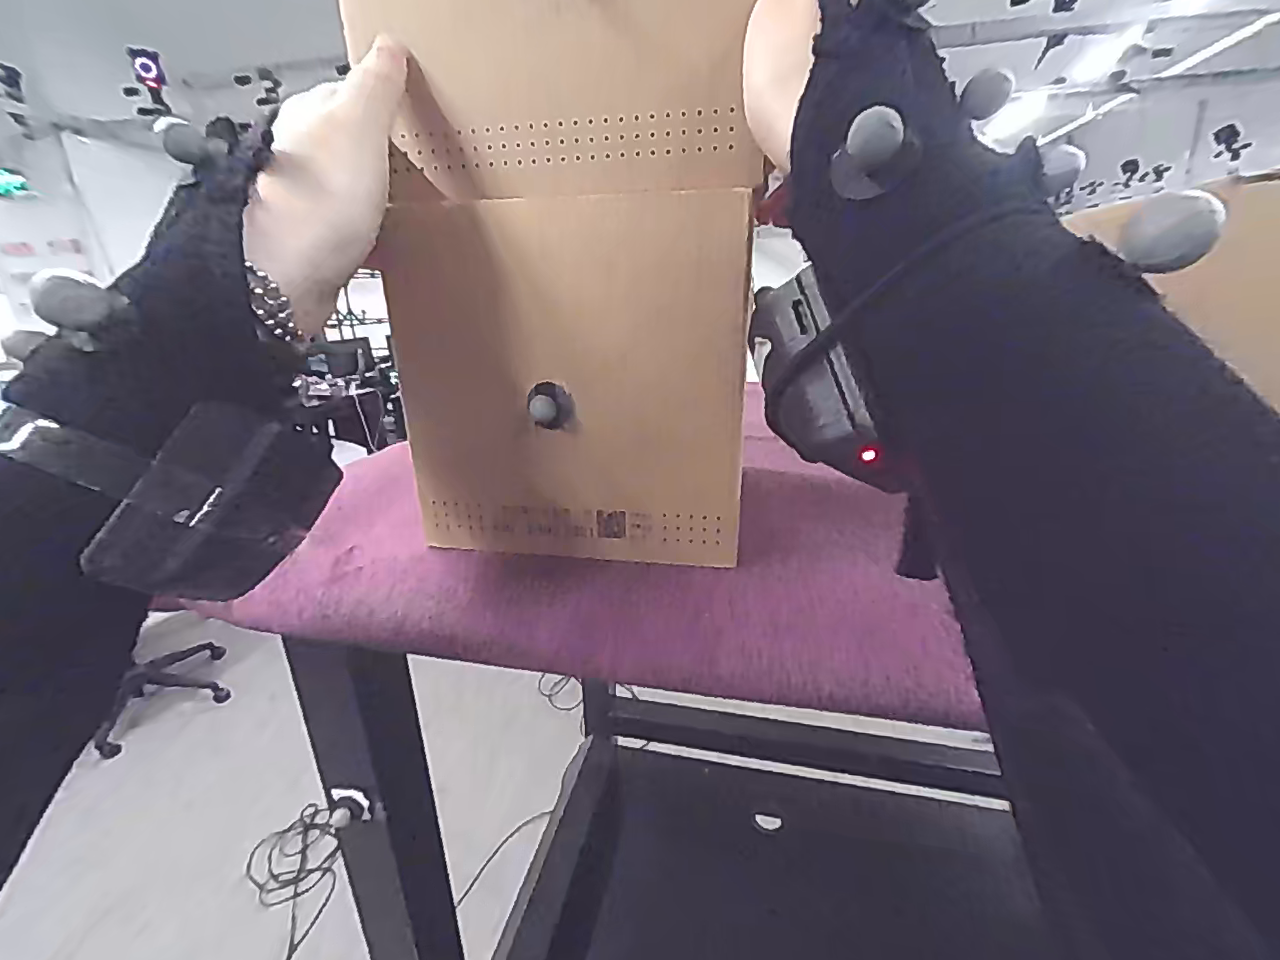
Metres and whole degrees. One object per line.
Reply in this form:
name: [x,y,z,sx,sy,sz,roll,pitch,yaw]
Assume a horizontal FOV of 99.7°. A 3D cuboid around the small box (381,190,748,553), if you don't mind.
small box: [-0.021,-0.067,0.332,0.168,0.176,0.179,3,20,10]
